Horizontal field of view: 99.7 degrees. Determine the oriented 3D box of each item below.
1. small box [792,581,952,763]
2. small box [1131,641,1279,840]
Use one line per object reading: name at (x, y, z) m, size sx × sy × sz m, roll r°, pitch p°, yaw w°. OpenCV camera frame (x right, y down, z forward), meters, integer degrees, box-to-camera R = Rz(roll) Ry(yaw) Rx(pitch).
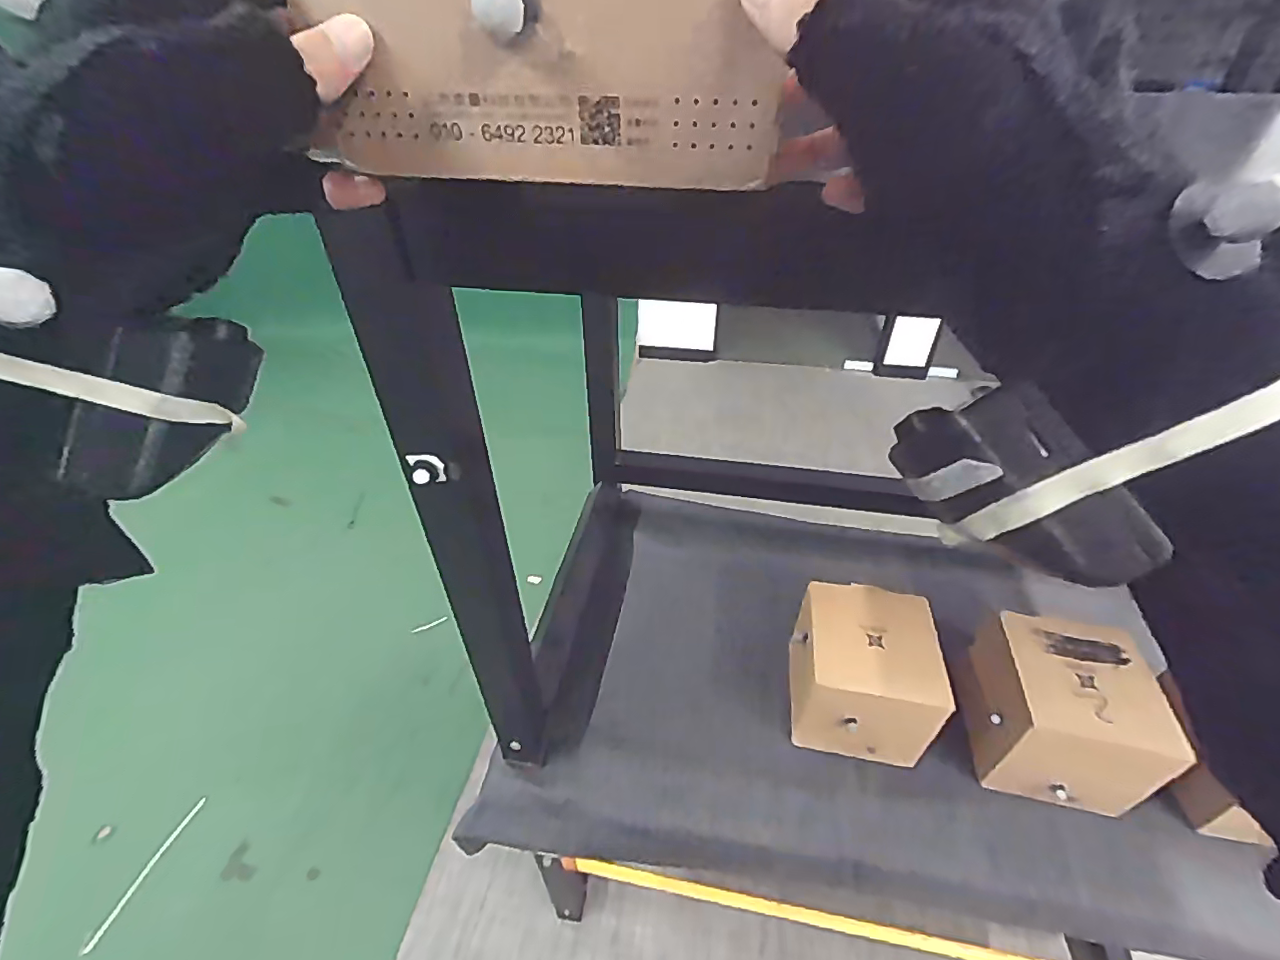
small box at (0.317, 0.276, 0.779) m, size 0.168 × 0.176 × 0.179 m, roll 7°, pitch 39°, yaw 9°
small box at (0.798, 0.338, 0.690) m, size 0.168 × 0.176 × 0.179 m, roll 6°, pitch 38°, yaw 8°
